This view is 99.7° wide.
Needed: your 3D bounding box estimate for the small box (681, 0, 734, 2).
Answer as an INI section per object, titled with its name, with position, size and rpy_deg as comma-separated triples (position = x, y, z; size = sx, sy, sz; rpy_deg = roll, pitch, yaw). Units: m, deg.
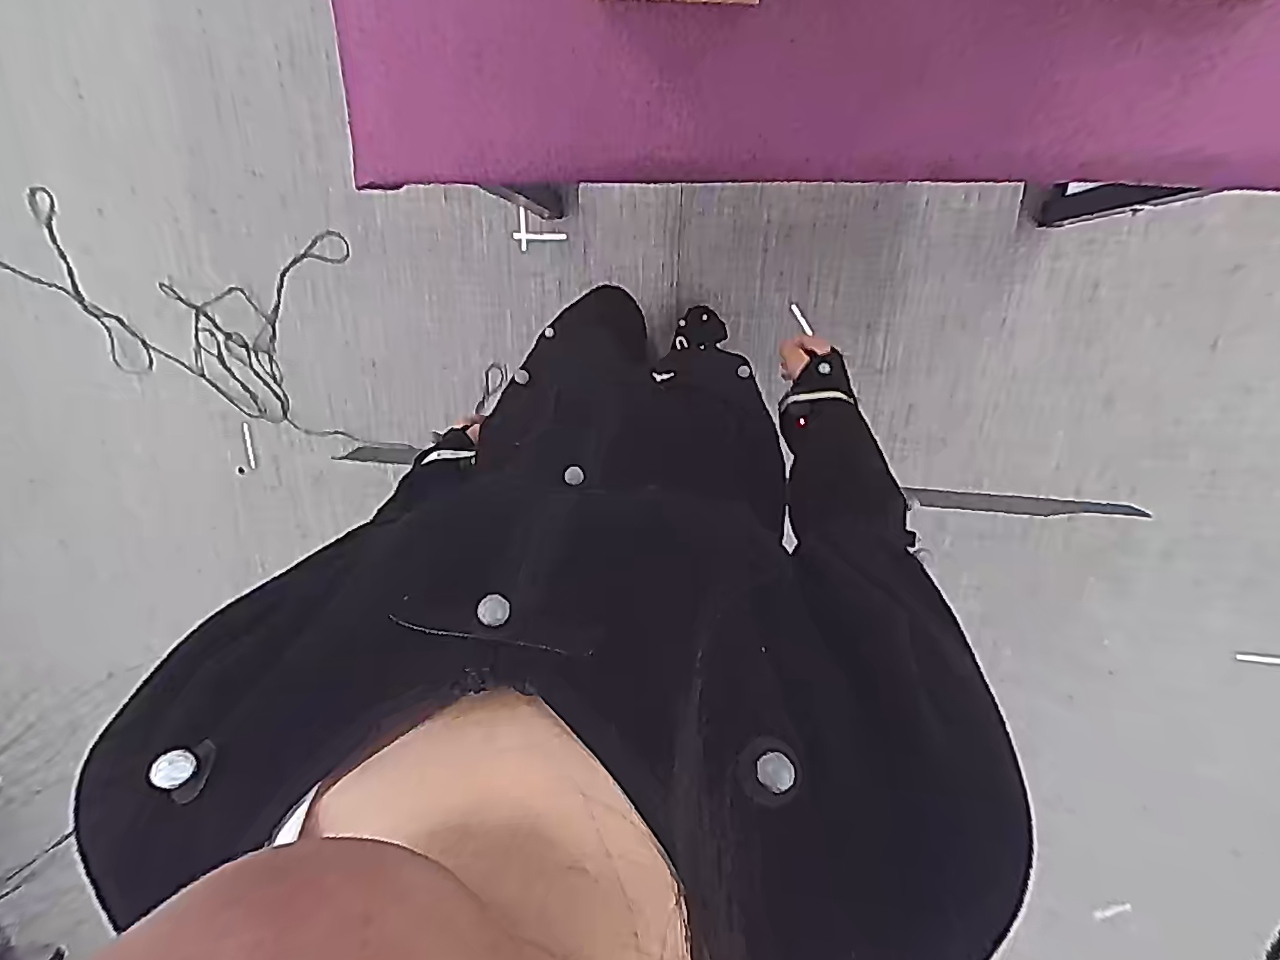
[small box]
position = 0.038, -0.551, 0.461
size = 0.179, 0.176, 0.168
rpy_deg = 7, 108, 5
